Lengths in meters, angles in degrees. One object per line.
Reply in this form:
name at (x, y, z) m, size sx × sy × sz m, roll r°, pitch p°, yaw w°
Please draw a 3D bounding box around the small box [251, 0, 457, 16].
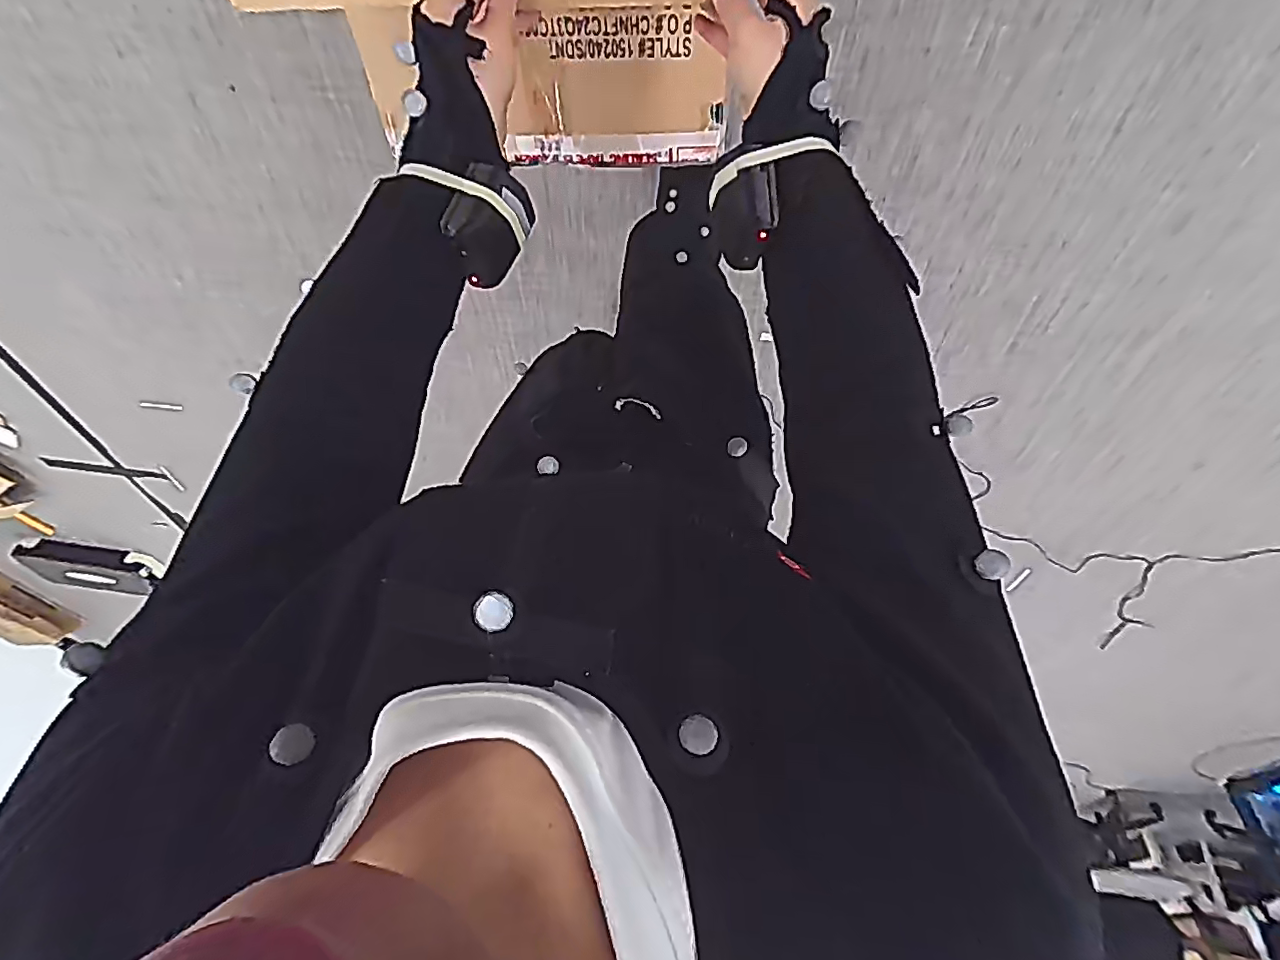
small box at (-0.214, -0.466, 0.400) m, size 0.179 × 0.176 × 0.168 m, roll 6°, pitch 139°, yaw 8°
